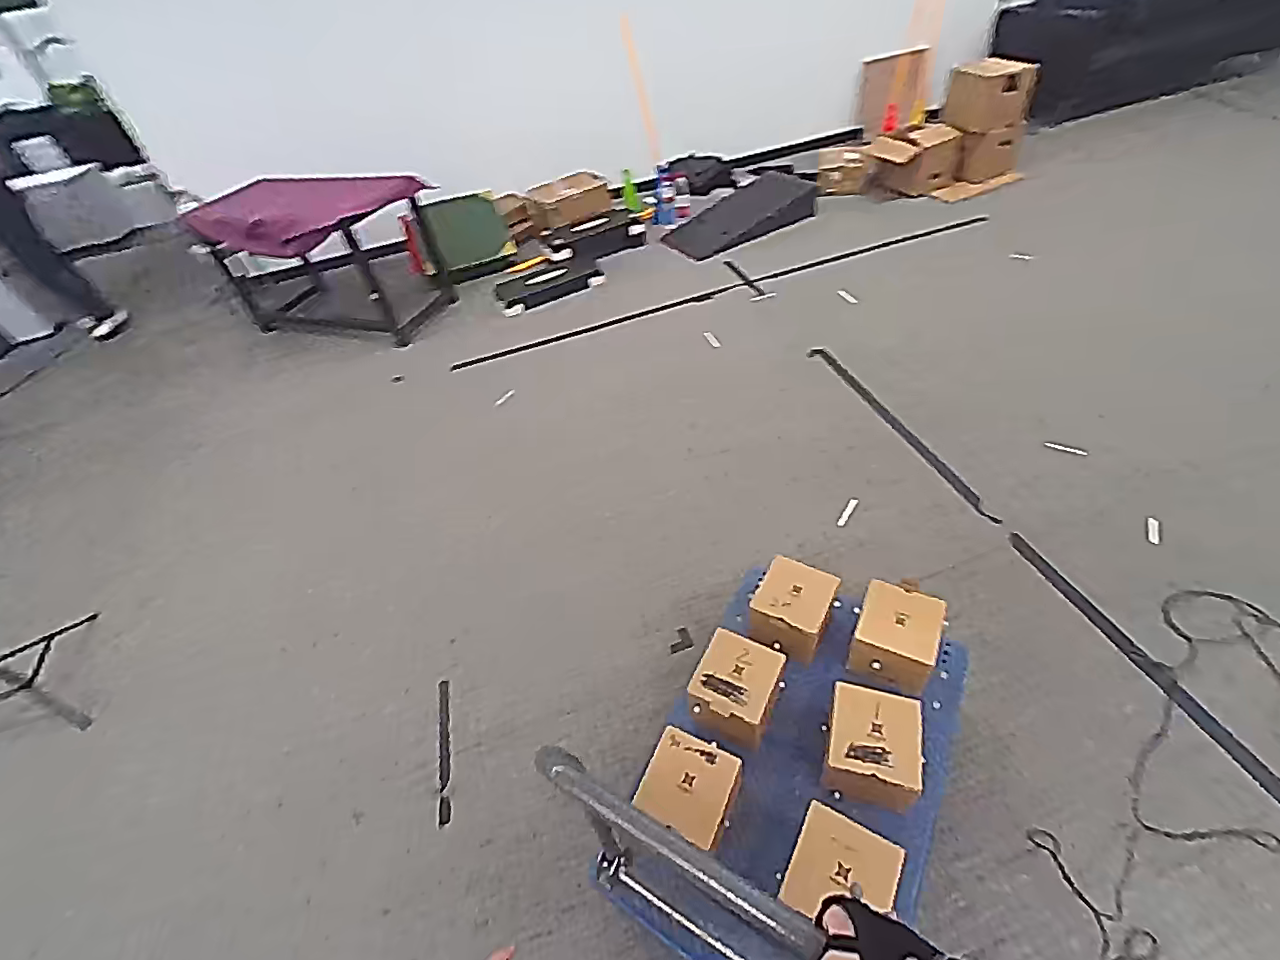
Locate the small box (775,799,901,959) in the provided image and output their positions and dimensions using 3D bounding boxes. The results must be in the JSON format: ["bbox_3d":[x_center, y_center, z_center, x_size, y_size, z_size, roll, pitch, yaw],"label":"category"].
[{"bbox_3d":[0.354,0.732,0.985,0.168,0.176,0.179,19,51,26],"label":"small box"}]

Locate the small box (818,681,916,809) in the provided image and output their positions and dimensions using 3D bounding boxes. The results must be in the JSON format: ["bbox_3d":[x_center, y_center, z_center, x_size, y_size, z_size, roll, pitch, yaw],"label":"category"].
[{"bbox_3d":[0.472,0.557,1.134,0.168,0.176,0.179,9,47,18],"label":"small box"}]

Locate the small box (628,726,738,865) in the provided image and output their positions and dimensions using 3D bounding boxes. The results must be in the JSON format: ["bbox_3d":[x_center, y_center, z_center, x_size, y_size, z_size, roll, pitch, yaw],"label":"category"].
[{"bbox_3d":[0.096,0.649,1.110,0.168,0.176,0.179,16,51,23],"label":"small box"}]

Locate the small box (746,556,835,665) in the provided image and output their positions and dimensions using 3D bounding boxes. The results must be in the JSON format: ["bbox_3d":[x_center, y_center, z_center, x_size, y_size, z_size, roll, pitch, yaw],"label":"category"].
[{"bbox_3d":[0.377,0.331,1.372,0.168,0.176,0.179,20,53,27],"label":"small box"}]

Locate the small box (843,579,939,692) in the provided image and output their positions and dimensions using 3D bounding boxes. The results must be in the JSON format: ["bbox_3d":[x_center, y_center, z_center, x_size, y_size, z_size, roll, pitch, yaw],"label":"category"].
[{"bbox_3d":[0.595,0.374,1.294,0.168,0.176,0.179,16,50,24],"label":"small box"}]
